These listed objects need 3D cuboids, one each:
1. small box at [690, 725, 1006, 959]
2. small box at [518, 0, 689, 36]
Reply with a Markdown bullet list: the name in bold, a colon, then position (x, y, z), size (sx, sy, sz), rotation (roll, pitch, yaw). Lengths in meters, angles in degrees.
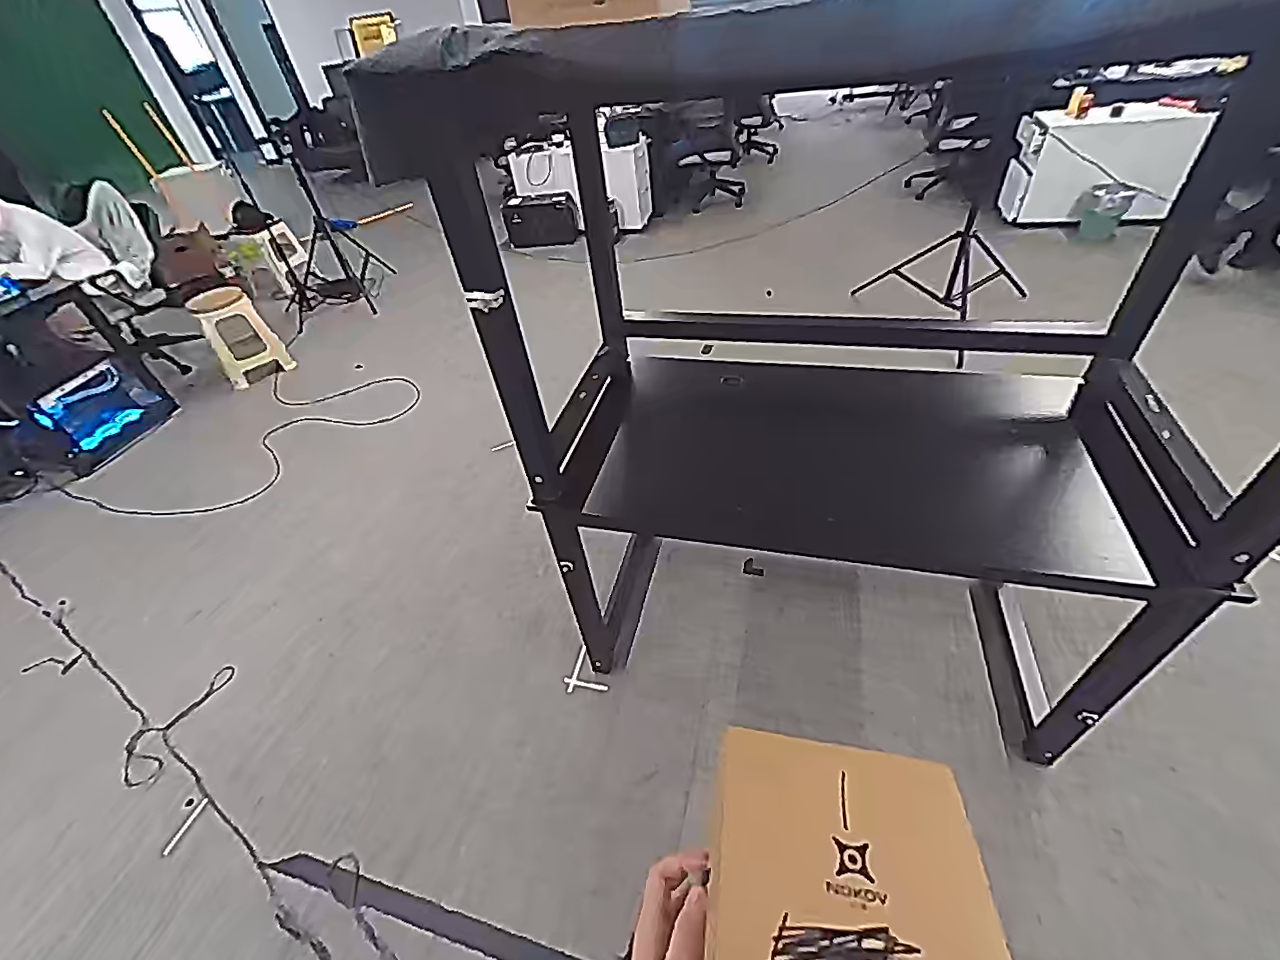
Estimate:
- **small box**: position (0.126, 0.311, 0.376), size (0.168, 0.176, 0.179), rotation (8, 31, 8)
- **small box**: position (-0.041, -0.594, 0.582), size (0.168, 0.176, 0.179), rotation (7, 42, 14)
